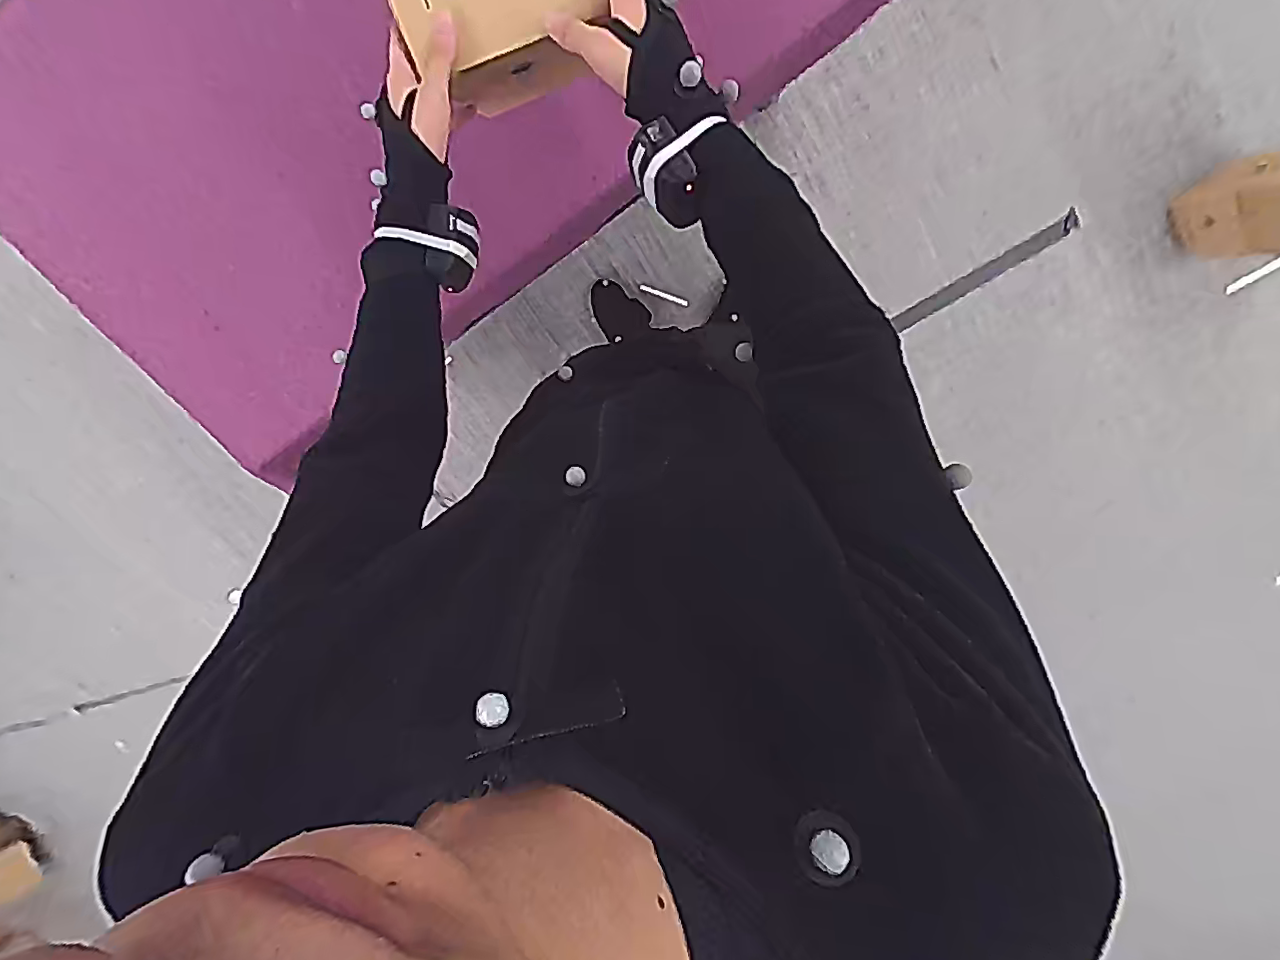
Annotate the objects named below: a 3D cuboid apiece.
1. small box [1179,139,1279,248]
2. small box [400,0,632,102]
[{"bbox_3d":[1.431,-0.666,1.266,0.179,0.176,0.168,-36,108,15],"label":"small box"},{"bbox_3d":[-0.115,-0.470,0.485,0.179,0.176,0.168,-14,115,10],"label":"small box"}]
